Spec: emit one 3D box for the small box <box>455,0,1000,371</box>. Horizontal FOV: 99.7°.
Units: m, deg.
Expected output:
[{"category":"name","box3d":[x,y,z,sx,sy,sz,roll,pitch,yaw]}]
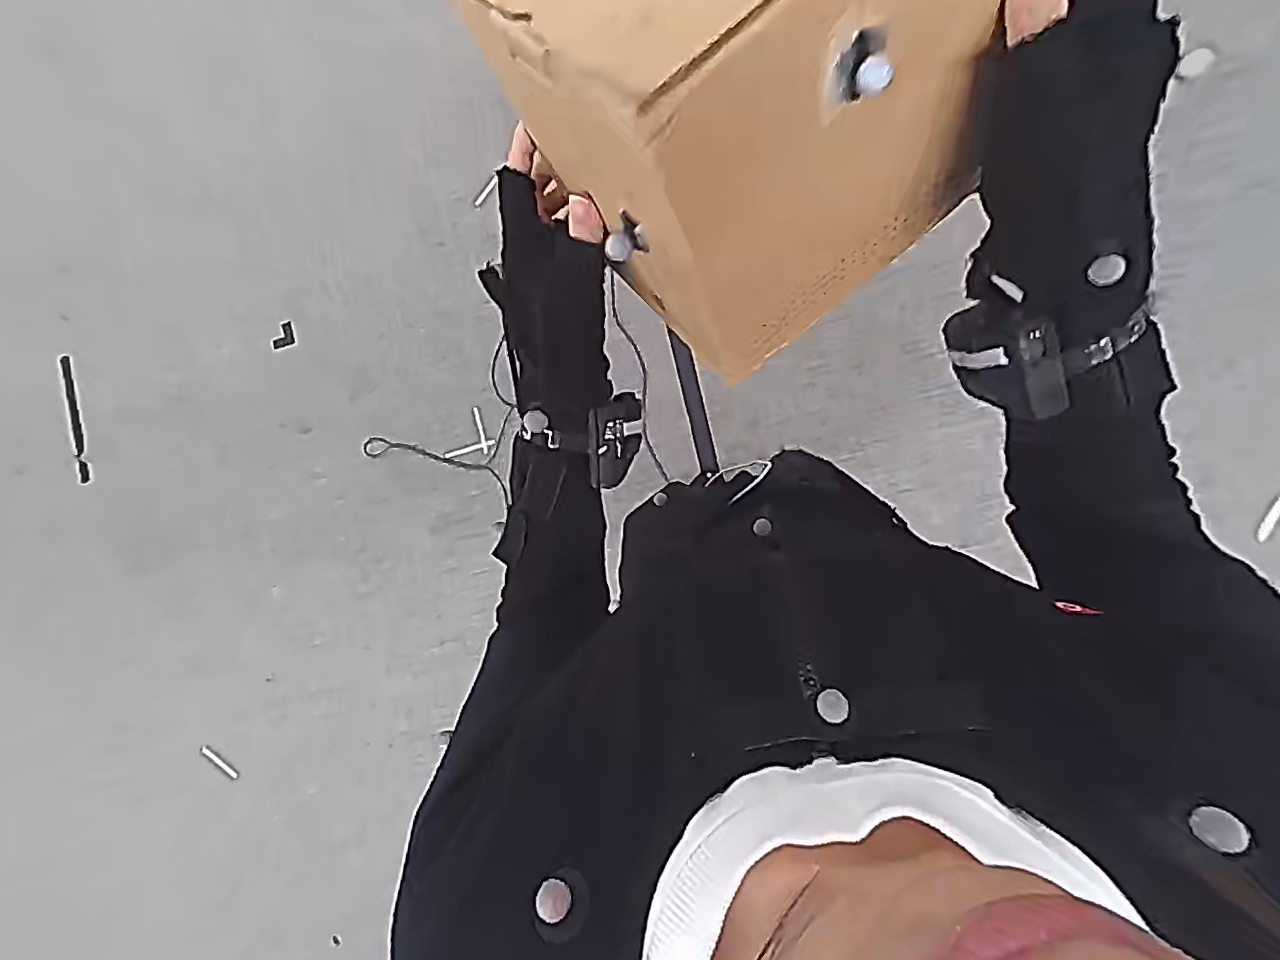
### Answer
[{"category":"small box","box3d":[0.050,-0.189,0.271,0.179,0.176,0.168,-40,61,1]}]
